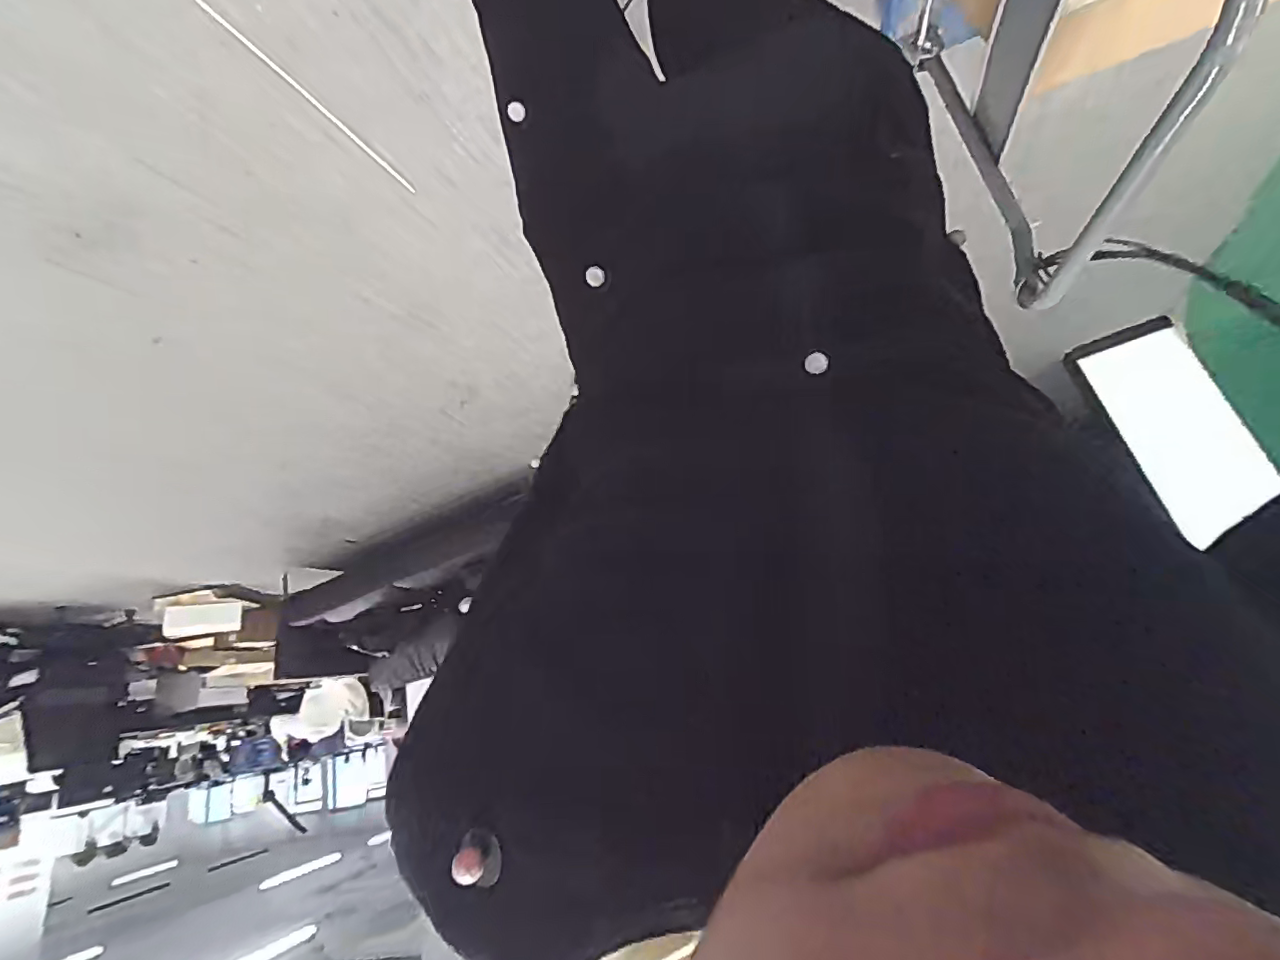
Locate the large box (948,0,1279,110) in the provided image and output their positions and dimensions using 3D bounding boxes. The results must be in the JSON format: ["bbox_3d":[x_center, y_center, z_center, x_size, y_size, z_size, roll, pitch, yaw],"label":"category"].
[{"bbox_3d":[0.760,-0.875,0.812,0.408,0.320,0.320,-18,158,10],"label":"large box"}]
